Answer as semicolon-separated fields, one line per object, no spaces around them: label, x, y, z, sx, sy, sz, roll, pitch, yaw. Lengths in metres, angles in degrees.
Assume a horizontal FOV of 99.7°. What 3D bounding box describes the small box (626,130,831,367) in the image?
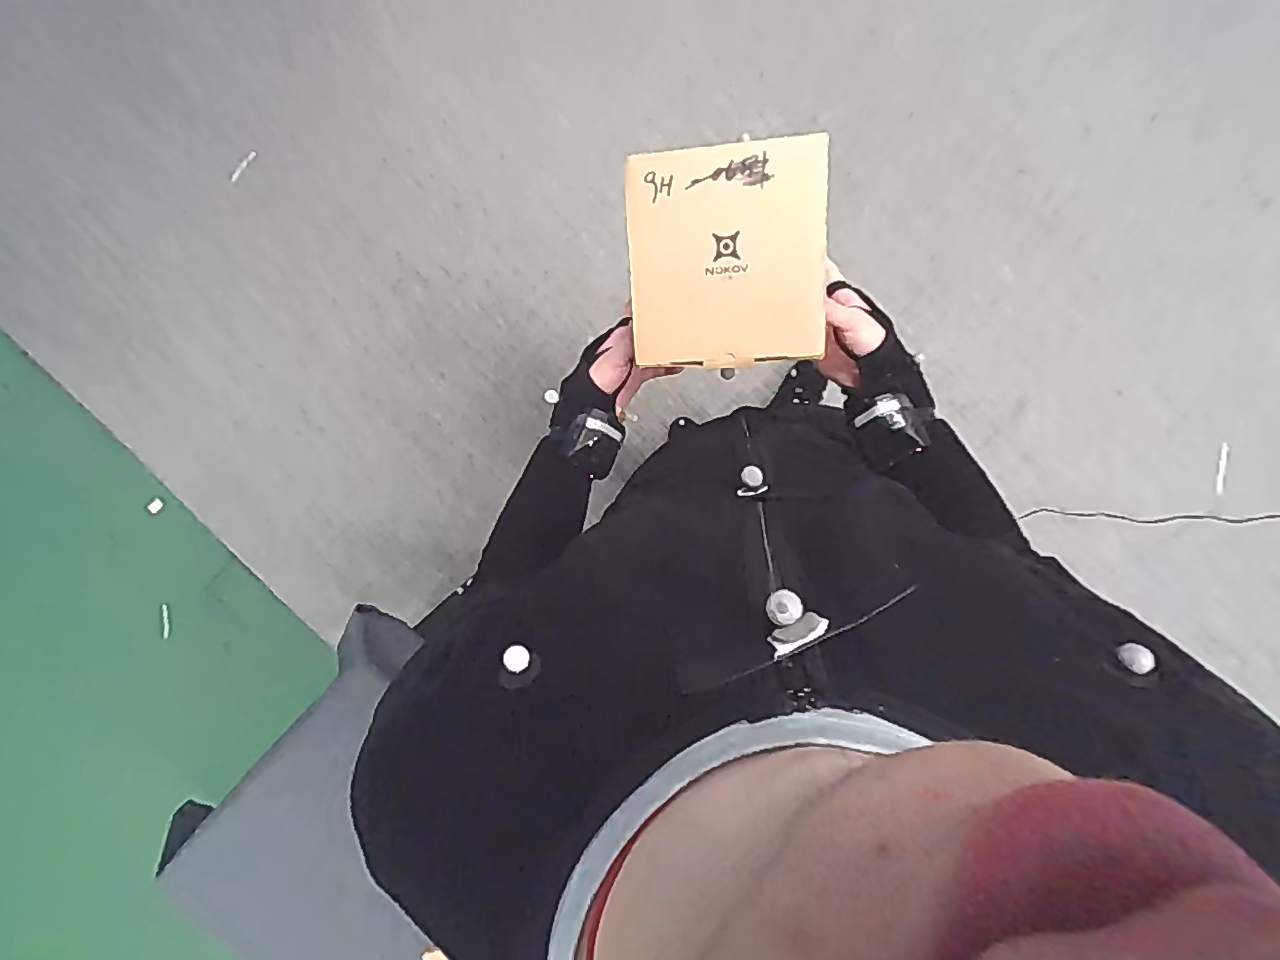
small box;0.083;-0.208;0.529;0.168;0.176;0.179;-2;104;7
